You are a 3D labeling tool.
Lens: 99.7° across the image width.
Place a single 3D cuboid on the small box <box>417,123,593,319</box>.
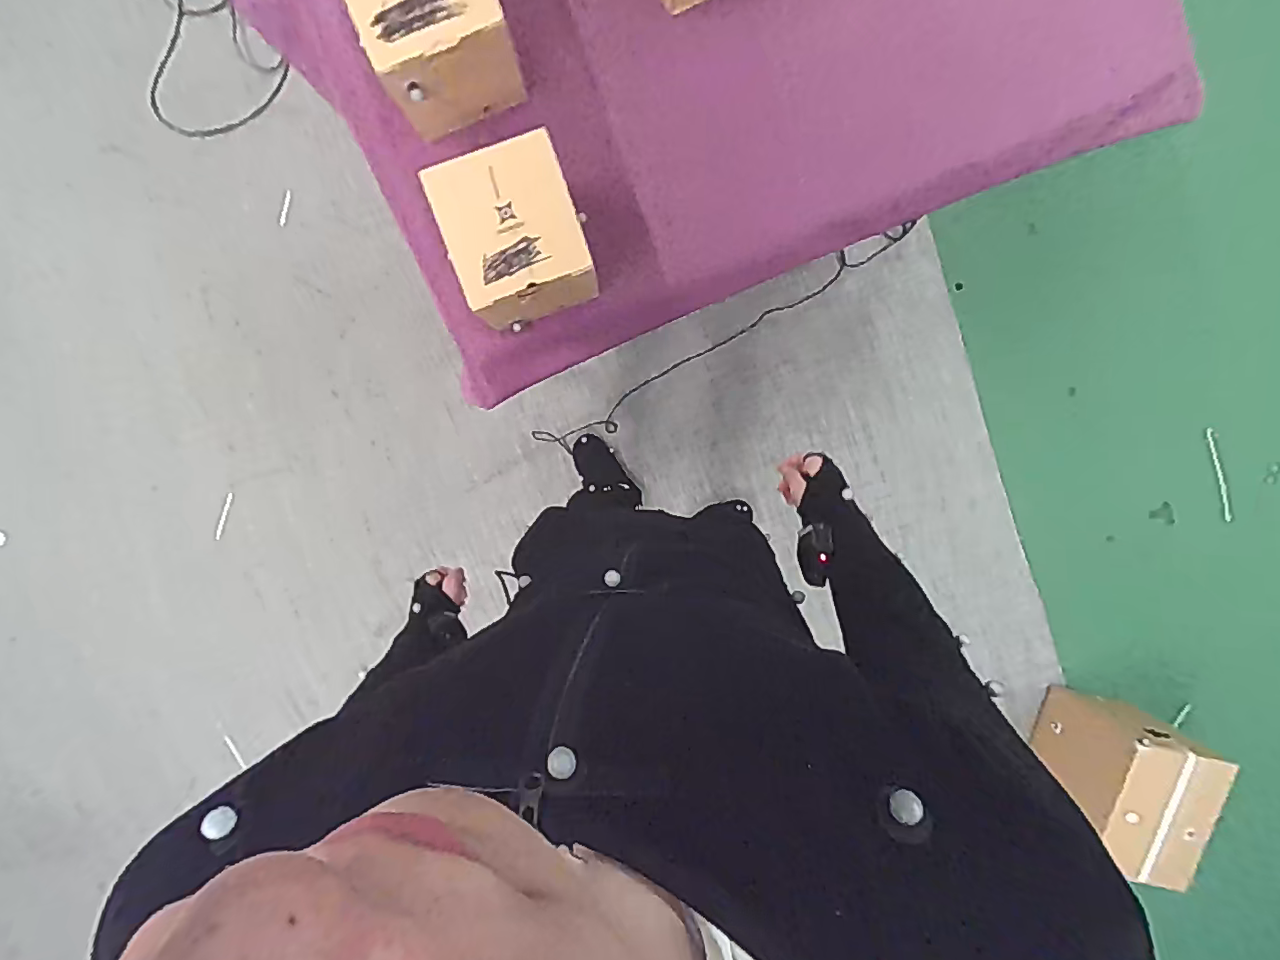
[{"bbox_3d":[-0.167,-0.333,0.739,0.168,0.176,0.179,-20,98,0],"label":"small box"}]
